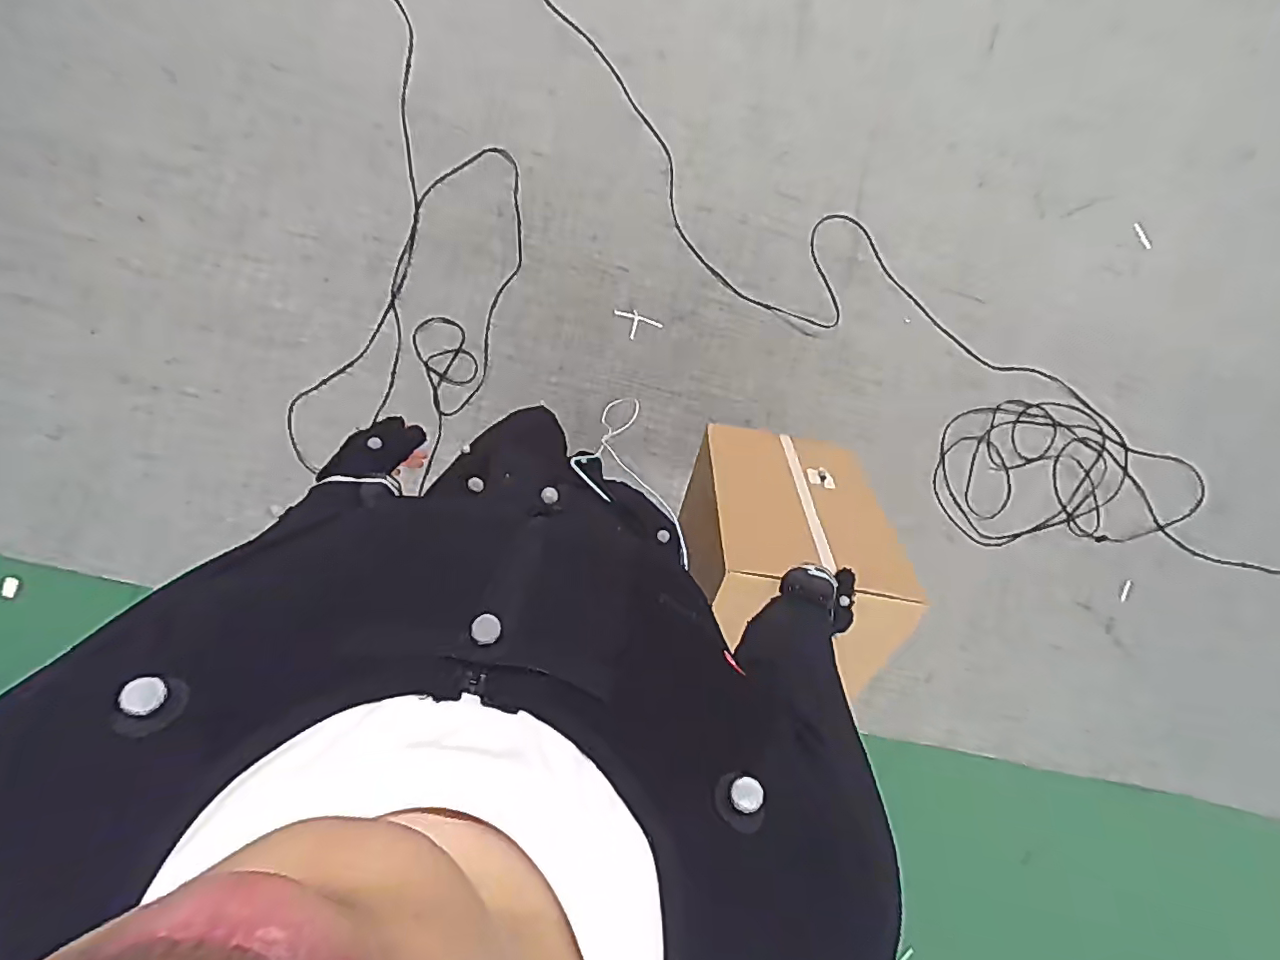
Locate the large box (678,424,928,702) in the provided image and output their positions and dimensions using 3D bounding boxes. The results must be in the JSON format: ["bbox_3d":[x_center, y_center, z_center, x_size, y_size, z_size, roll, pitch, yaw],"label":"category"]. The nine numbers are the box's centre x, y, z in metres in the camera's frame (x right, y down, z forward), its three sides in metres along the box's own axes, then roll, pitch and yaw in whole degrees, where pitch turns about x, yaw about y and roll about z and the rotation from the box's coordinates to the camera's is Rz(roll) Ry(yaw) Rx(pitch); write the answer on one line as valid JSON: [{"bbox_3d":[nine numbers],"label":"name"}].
[{"bbox_3d":[0.255,0.148,1.025,0.320,0.408,0.320,11,127,-5],"label":"large box"}]
